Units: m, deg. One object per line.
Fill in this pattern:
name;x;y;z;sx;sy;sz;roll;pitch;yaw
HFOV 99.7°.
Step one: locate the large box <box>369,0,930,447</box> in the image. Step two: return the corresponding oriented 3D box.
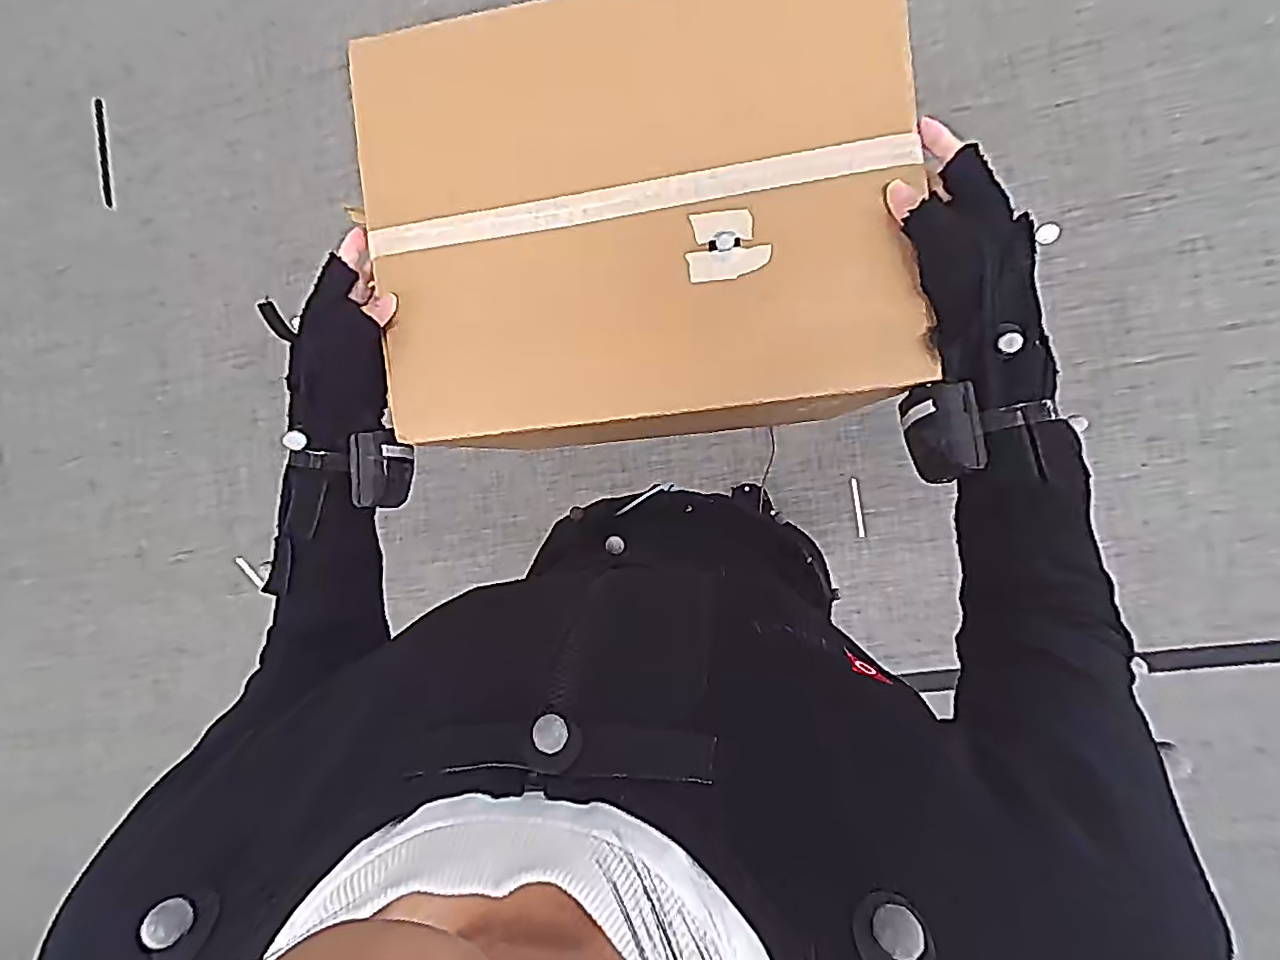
large box;0.012;-0.214;0.556;0.408;0.320;0.320;-6;92;7
